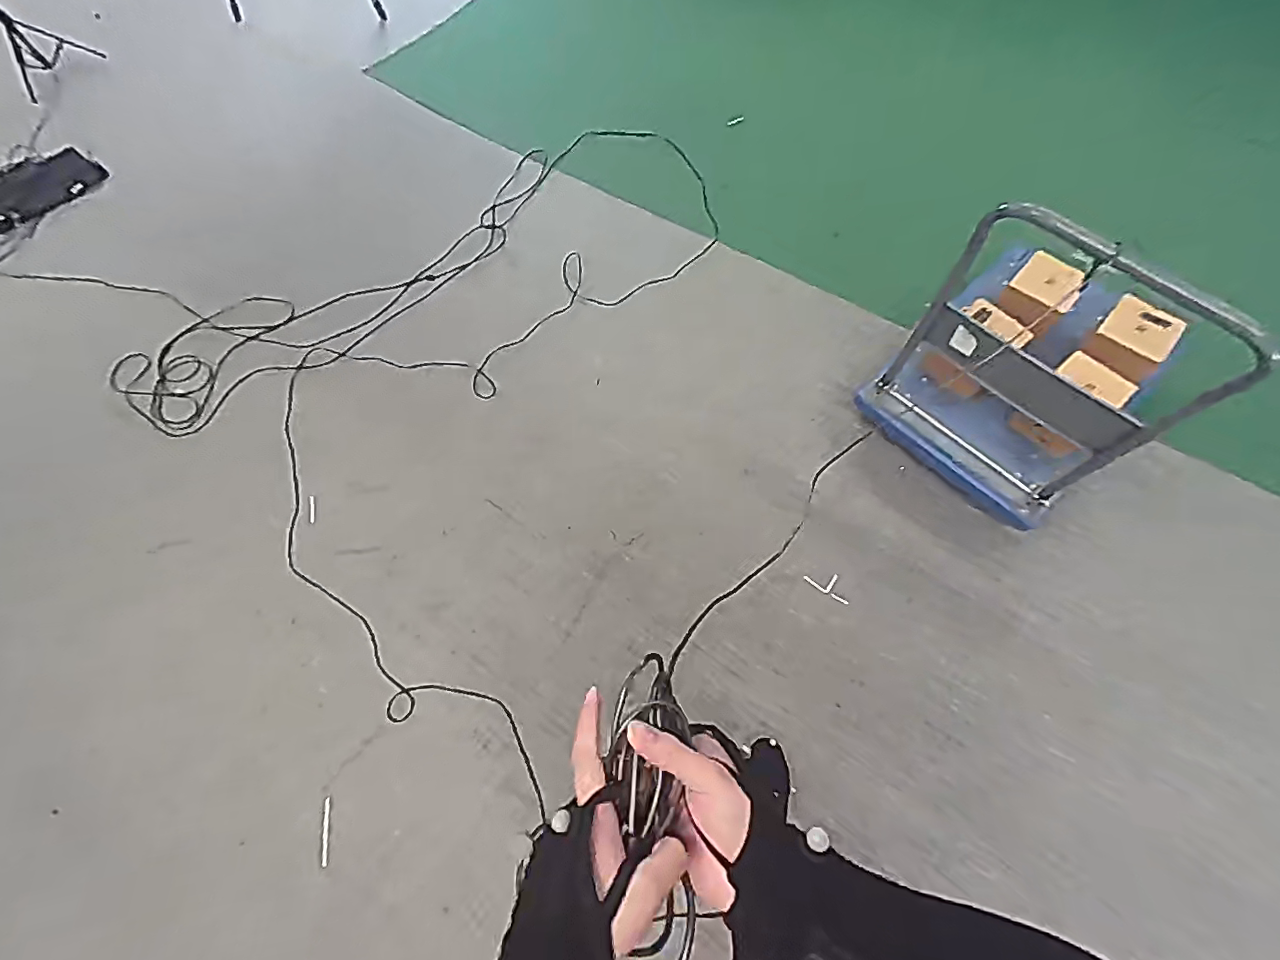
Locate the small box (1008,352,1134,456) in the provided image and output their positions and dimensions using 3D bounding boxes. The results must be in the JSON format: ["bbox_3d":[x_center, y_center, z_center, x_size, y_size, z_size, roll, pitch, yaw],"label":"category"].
[{"bbox_3d":[1.133,-0.198,1.439,0.179,0.176,0.168,-40,69,-14],"label":"small box"}]

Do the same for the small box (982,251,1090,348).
[{"bbox_3d":[1.149,-0.523,1.588,0.168,0.176,0.179,41,73,18],"label":"small box"}]

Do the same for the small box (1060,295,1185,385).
[{"bbox_3d":[1.332,-0.370,1.507,0.168,0.176,0.179,40,74,20],"label":"small box"}]
